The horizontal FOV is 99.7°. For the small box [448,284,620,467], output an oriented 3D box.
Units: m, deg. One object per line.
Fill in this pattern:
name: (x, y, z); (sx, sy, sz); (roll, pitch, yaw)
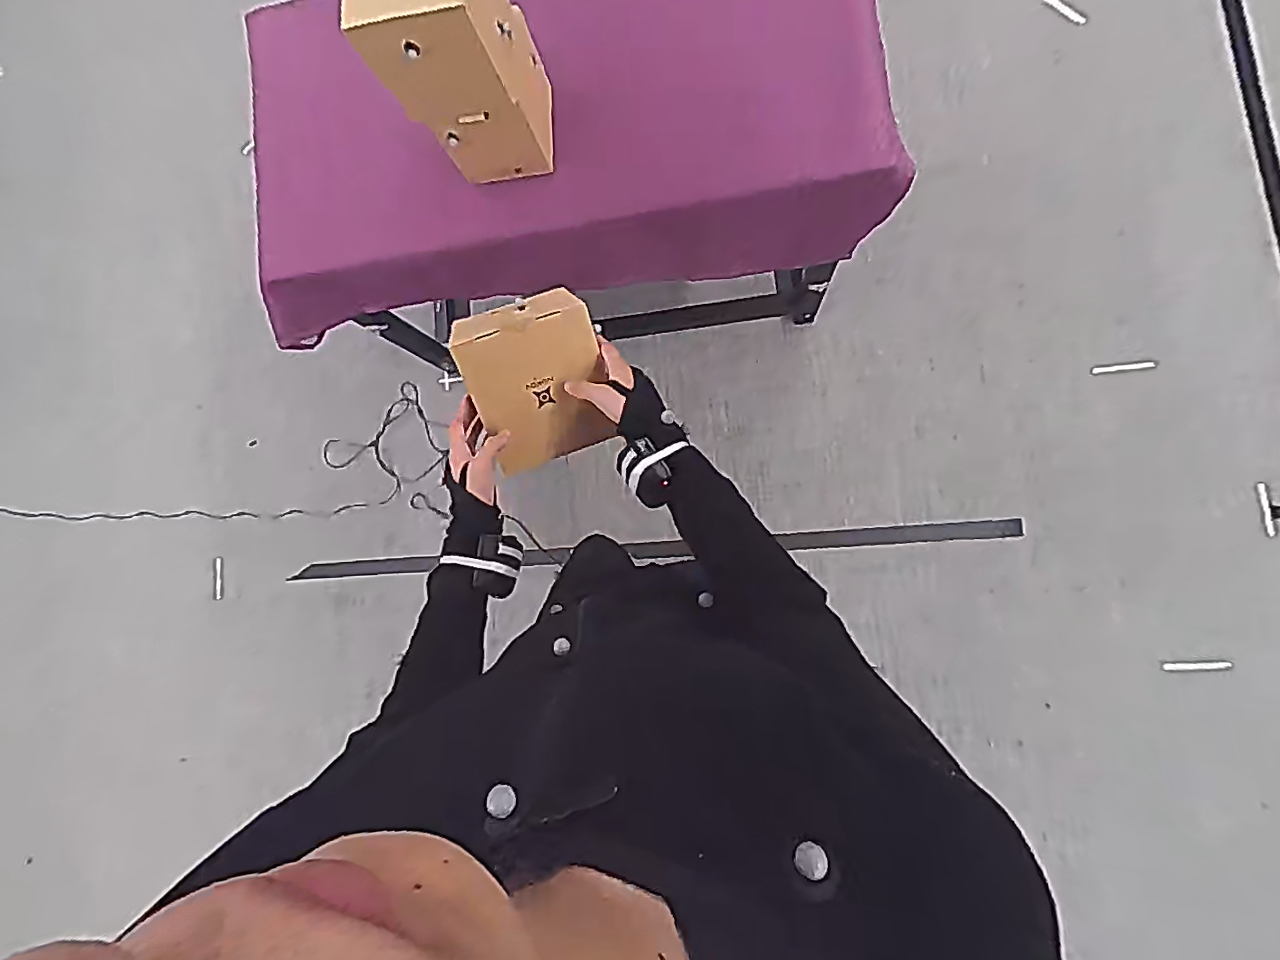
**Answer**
small box: (-0.141, -0.148, 0.727); (0.168, 0.176, 0.179); (-20, 118, -7)

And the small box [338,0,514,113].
small box: (-0.297, -0.668, 0.777); (0.179, 0.176, 0.168); (-2, 85, 8)
